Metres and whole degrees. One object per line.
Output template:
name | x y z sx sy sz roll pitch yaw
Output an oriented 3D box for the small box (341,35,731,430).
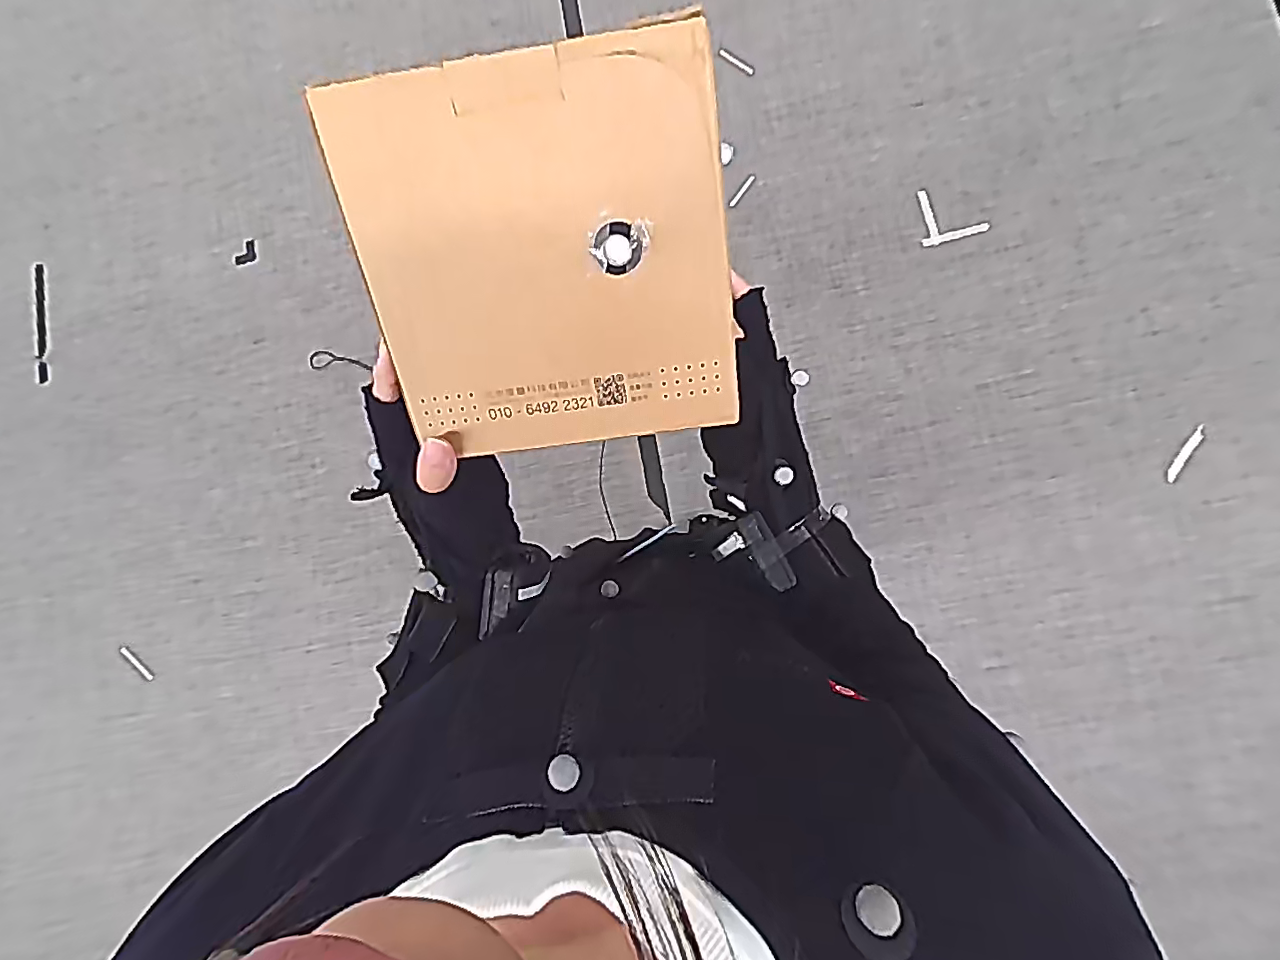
small box | -0.037 -0.134 0.338 0.168 0.179 0.176 -6 115 6
